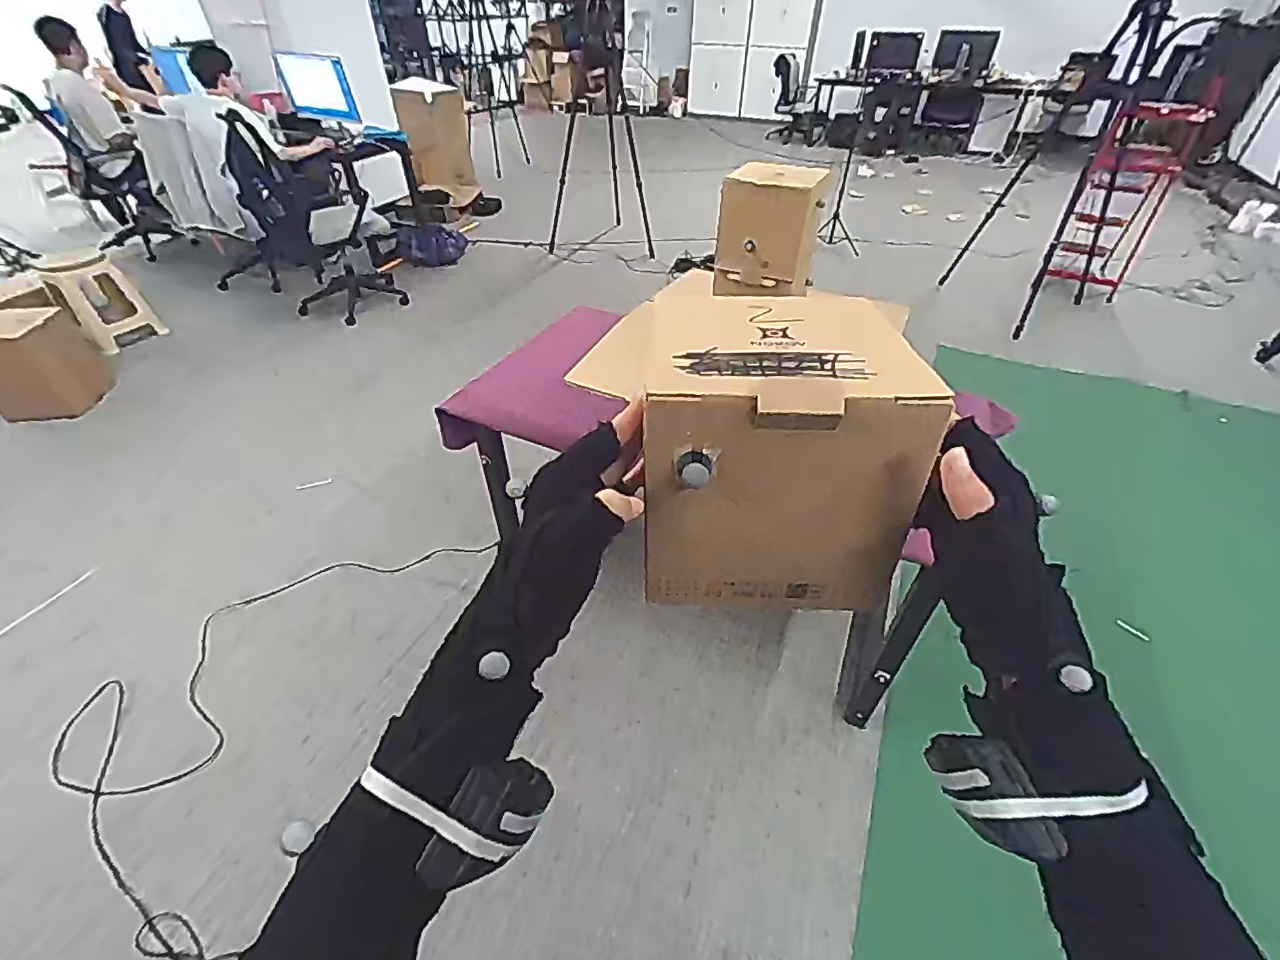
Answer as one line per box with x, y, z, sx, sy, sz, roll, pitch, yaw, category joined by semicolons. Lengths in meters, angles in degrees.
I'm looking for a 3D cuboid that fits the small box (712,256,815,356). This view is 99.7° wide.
0.266;-0.396;1.189;0.168;0.176;0.179;19;44;21;small box

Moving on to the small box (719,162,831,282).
0.264;-0.517;1.078;0.168;0.176;0.179;18;44;19;small box
